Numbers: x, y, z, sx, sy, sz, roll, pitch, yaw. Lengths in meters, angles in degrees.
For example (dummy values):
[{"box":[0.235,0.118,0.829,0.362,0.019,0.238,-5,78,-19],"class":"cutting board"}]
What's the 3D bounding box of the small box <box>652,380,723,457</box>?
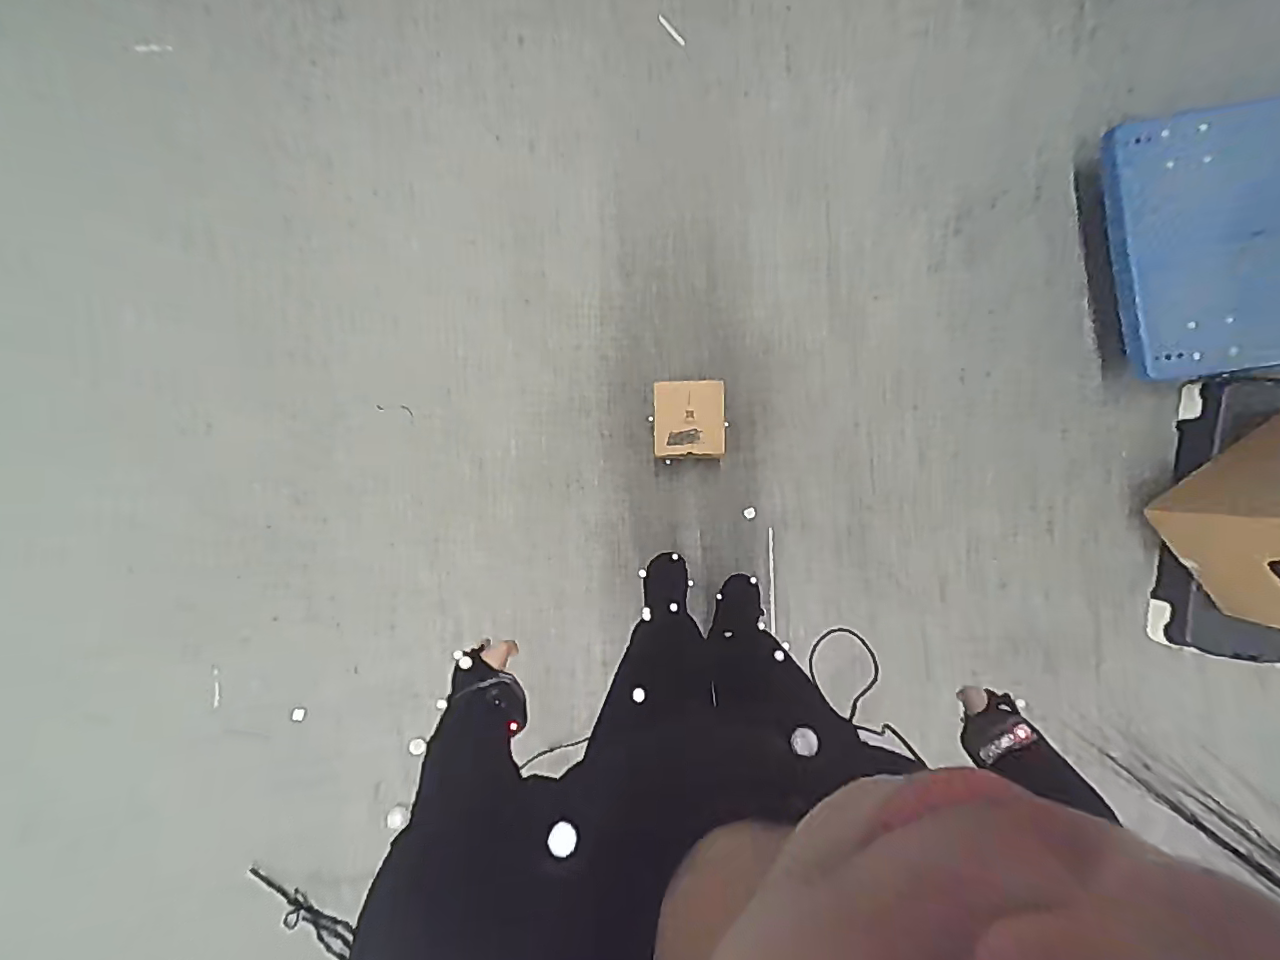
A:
[{"box":[0.115,-0.146,1.333,0.168,0.176,0.179,-1,90,2],"class":"small box"}]
